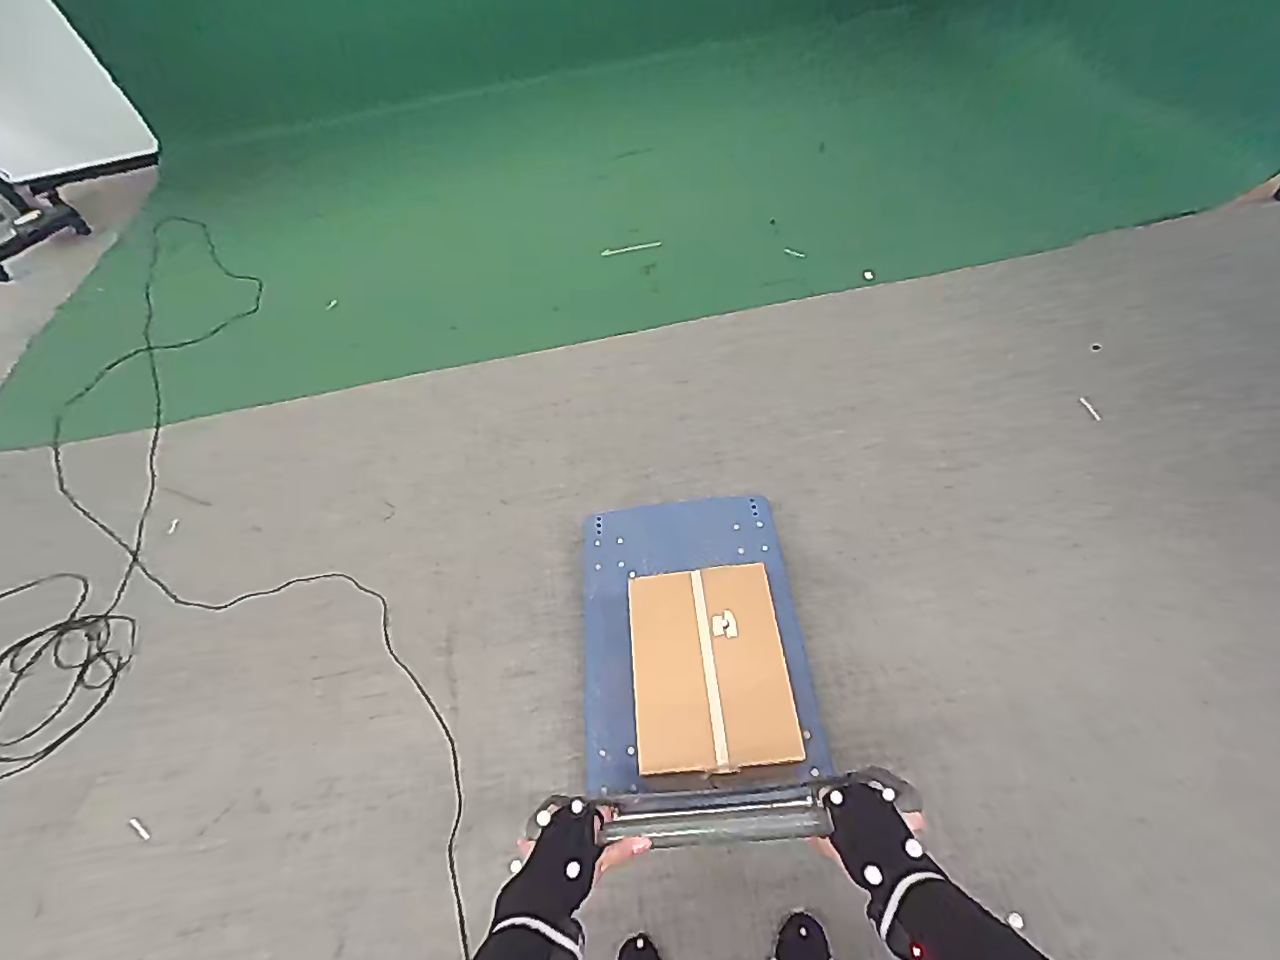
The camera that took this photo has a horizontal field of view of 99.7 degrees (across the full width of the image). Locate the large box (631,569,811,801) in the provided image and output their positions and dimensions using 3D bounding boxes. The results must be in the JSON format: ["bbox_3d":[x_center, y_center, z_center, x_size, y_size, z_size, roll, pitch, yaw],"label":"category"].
[{"bbox_3d":[0.164,0.466,1.221,0.320,0.320,0.408,-7,53,3],"label":"large box"}]
